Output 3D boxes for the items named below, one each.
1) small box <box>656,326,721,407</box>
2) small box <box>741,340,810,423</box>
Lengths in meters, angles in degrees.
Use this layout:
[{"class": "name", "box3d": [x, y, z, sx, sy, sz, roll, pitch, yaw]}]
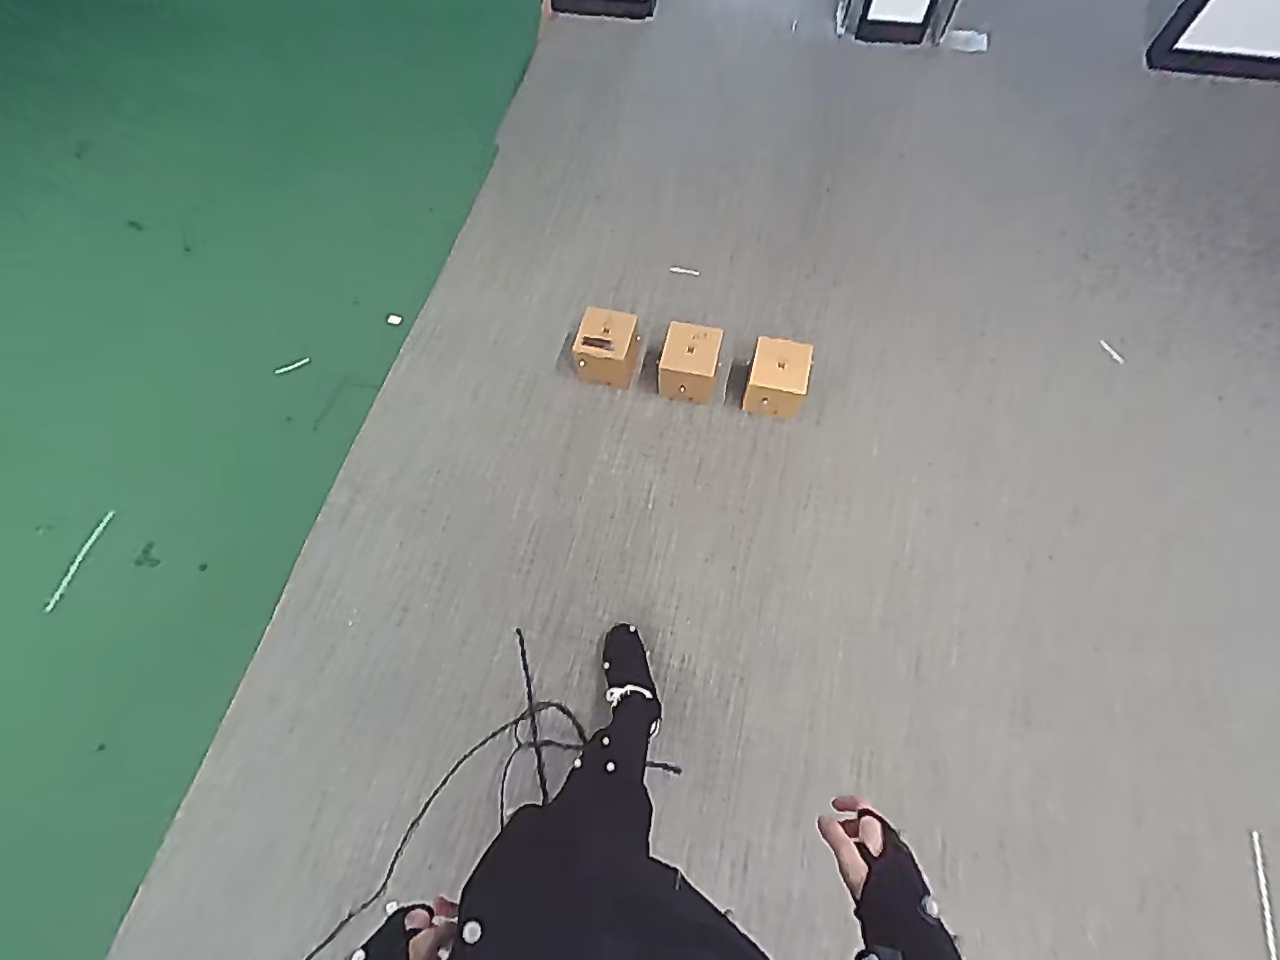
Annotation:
[{"class": "small box", "box3d": [0.151, -0.351, 1.694, 0.168, 0.176, 0.179, 12, 68, 7]}, {"class": "small box", "box3d": [0.412, -0.298, 1.664, 0.168, 0.176, 0.179, 12, 68, 7]}]
